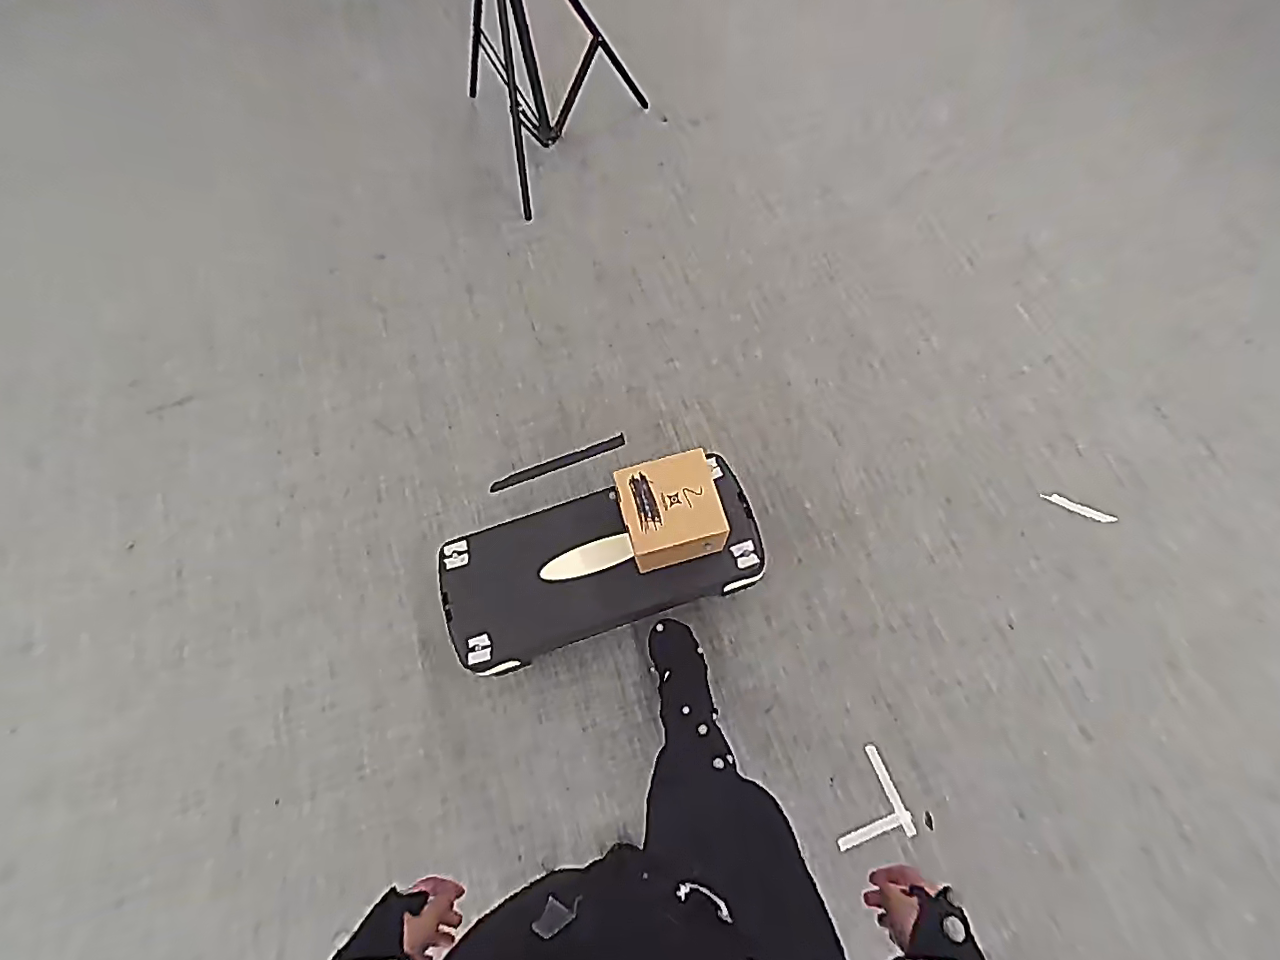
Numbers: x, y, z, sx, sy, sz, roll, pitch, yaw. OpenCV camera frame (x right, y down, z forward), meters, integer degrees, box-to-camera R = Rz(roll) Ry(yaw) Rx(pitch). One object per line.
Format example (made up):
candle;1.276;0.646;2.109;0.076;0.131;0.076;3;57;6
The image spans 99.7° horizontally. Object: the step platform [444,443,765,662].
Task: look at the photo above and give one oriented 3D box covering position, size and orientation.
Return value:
step platform;-0.076;0.161;1.204;0.684;0.204;0.286;-19;70;-3
